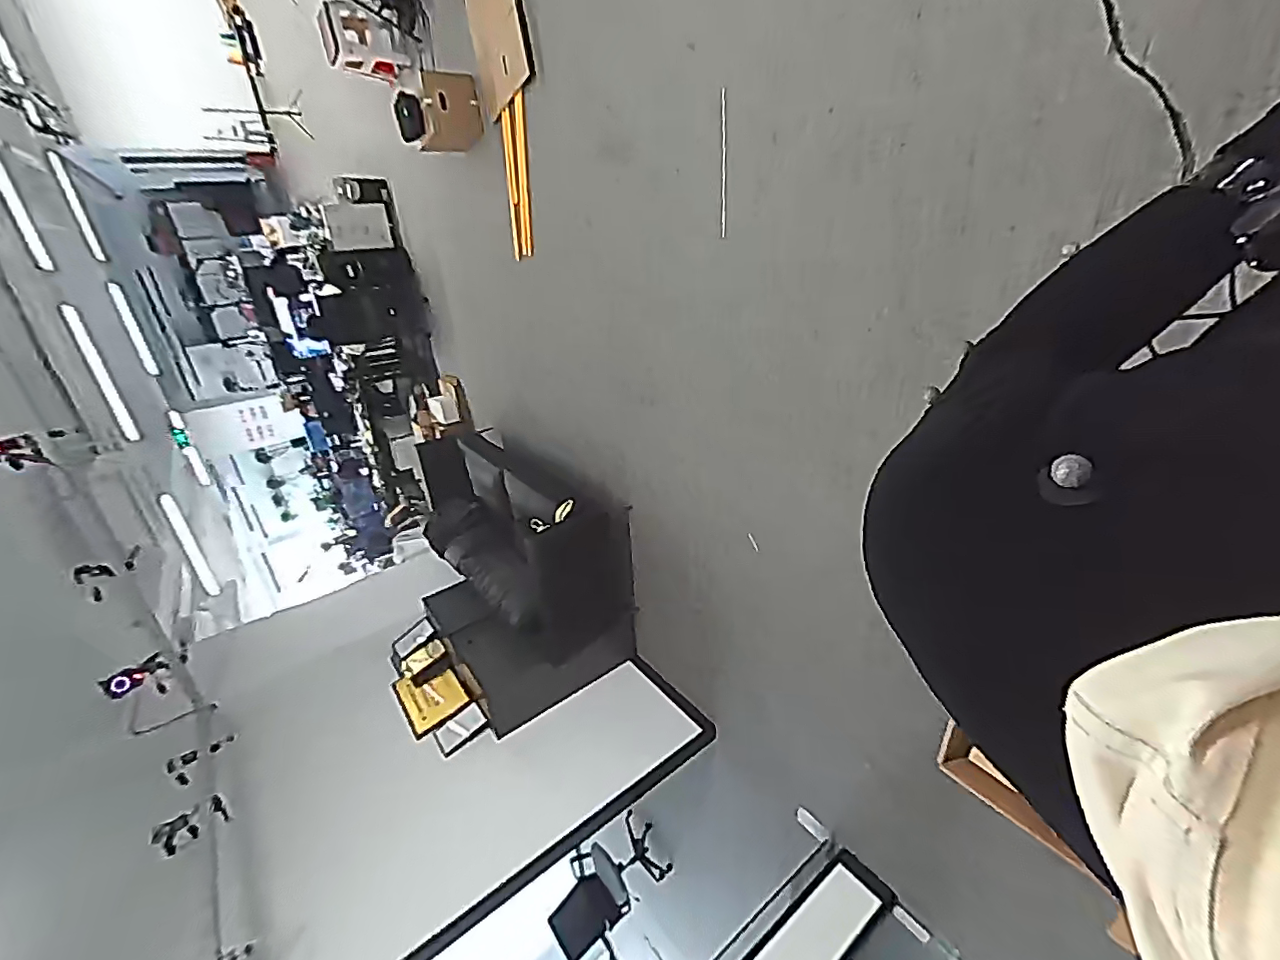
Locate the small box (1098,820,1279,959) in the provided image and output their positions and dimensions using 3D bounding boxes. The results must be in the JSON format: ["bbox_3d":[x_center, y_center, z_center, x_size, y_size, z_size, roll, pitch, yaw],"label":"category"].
[{"bbox_3d":[0.923,0.727,0.904,0.168,0.176,0.179,31,133,43],"label":"small box"}]
